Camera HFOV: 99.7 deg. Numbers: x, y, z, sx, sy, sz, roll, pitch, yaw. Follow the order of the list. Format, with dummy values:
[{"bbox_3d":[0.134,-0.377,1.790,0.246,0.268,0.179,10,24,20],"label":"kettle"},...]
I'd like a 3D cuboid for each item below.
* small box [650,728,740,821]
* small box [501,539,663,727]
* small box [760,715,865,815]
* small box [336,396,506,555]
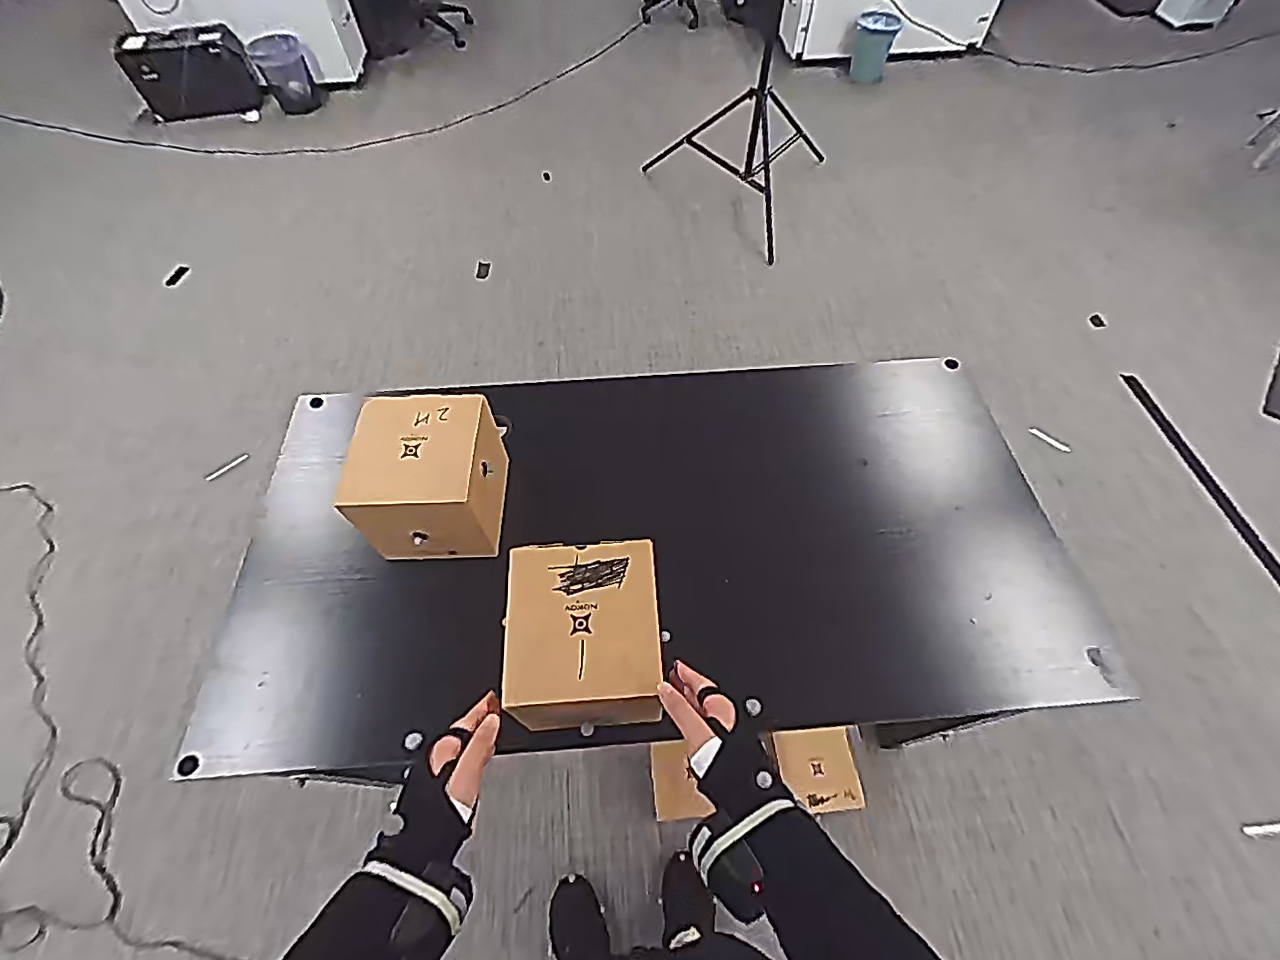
[{"bbox_3d":[0.115,0.665,1.217,0.179,0.176,0.168,-5,57,-1],"label":"small box"},{"bbox_3d":[-0.063,0.189,0.655,0.168,0.176,0.179,-4,58,-1],"label":"small box"},{"bbox_3d":[0.377,0.647,1.221,0.168,0.176,0.179,-6,57,-2],"label":"small box"},{"bbox_3d":[-0.296,0.001,0.777,0.168,0.176,0.179,-2,58,-1],"label":"small box"}]
